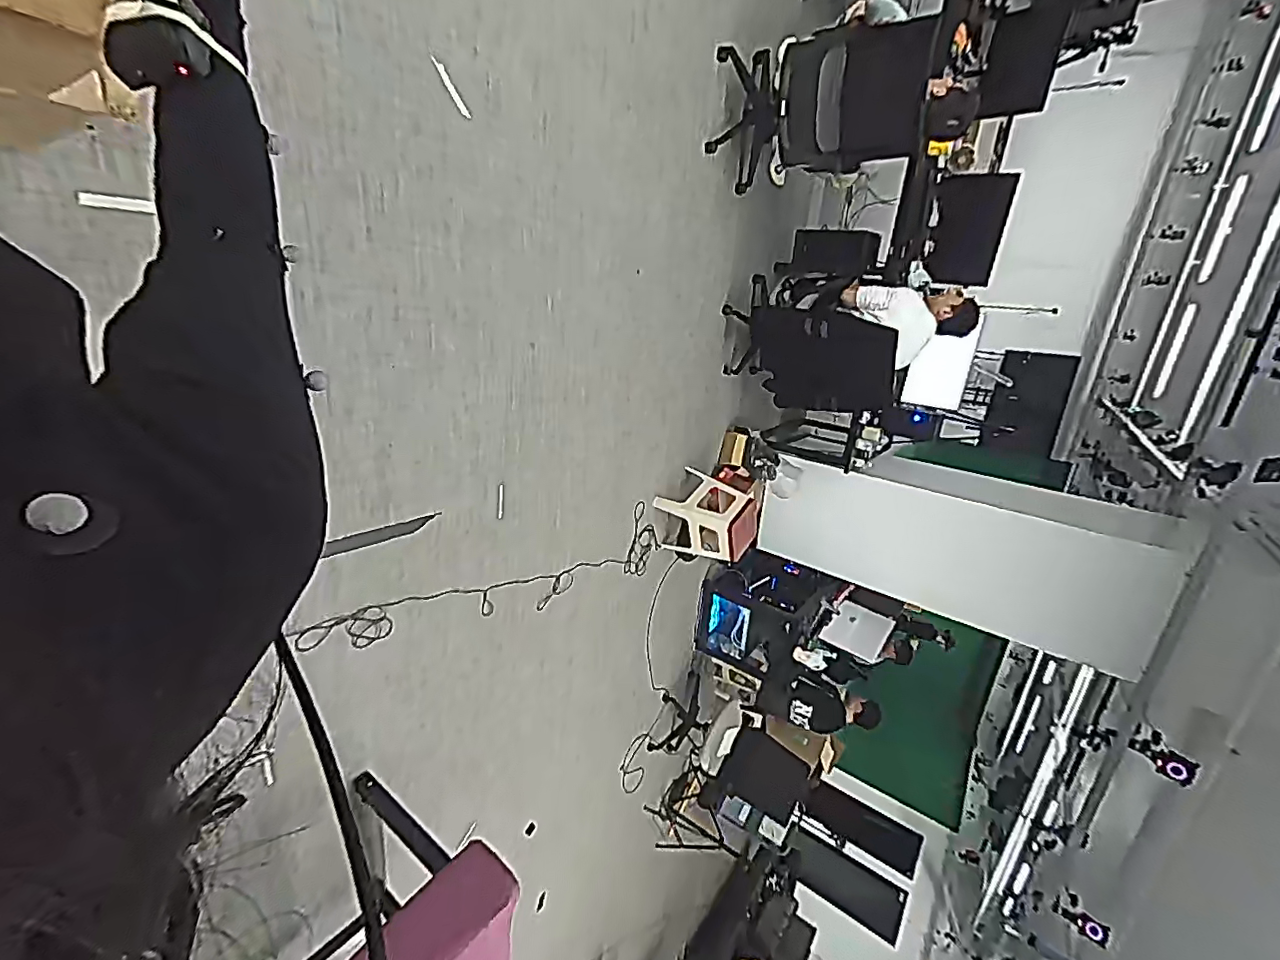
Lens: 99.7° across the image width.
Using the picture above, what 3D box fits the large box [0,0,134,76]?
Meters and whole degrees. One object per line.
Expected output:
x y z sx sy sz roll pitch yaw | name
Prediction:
-0.609 -0.491 0.293 0.408 0.320 0.320 -17 121 -54 | large box
